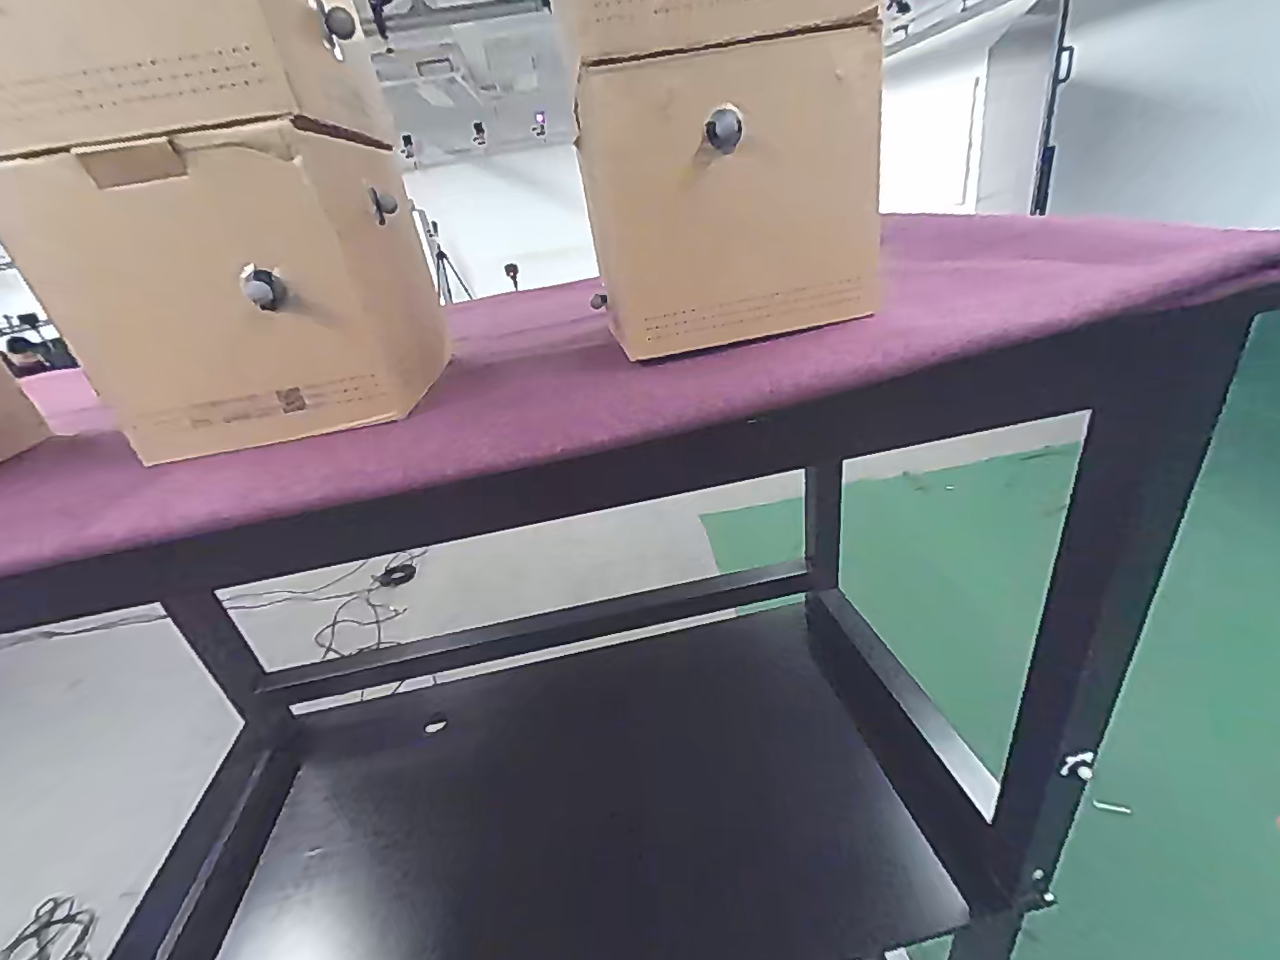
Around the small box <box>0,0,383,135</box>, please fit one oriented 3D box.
[{"bbox_3d":[-0.275,-0.282,0.294,0.179,0.176,0.168,-10,29,-2],"label":"small box"}]

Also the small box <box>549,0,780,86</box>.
[{"bbox_3d":[0.024,-0.354,0.332,0.179,0.176,0.168,-12,25,-4],"label":"small box"}]

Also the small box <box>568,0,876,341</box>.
[{"bbox_3d":[0.052,-0.208,0.397,0.179,0.176,0.168,-12,25,-4],"label":"small box"}]

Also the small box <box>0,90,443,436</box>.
[{"bbox_3d":[-0.252,-0.138,0.369,0.168,0.176,0.179,-10,27,-3],"label":"small box"}]
